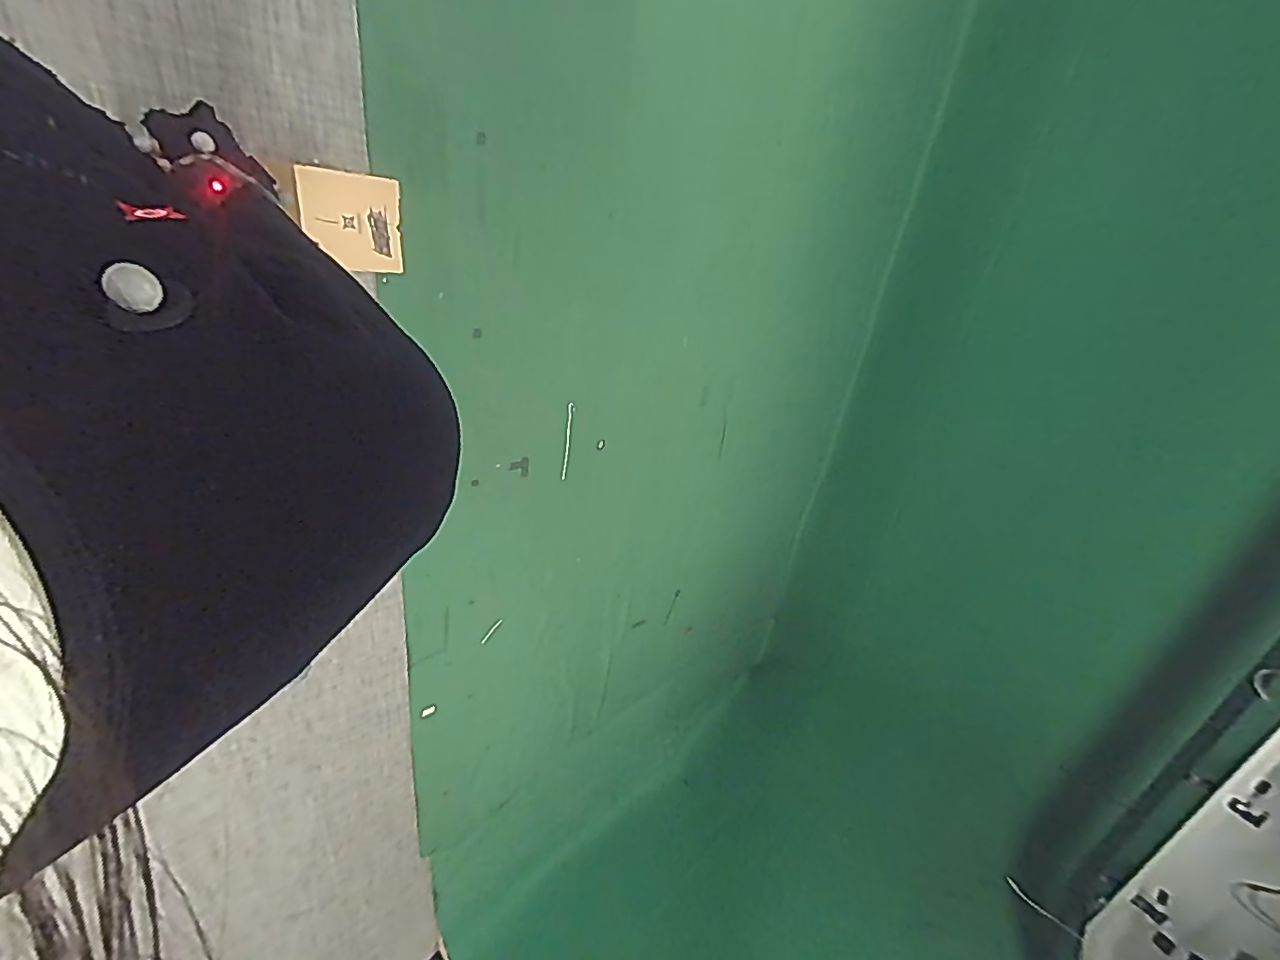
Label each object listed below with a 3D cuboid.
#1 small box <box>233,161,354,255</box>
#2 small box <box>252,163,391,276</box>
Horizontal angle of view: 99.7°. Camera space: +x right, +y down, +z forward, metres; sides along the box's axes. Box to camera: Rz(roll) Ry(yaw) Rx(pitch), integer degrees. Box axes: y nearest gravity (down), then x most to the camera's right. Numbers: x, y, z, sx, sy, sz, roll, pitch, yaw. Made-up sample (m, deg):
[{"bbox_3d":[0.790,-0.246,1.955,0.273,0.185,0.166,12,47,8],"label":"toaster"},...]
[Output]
[{"bbox_3d":[-0.704,-0.555,1.118,0.179,0.176,0.168,-19,126,-42],"label":"small box"},{"bbox_3d":[-0.594,-0.487,1.016,0.179,0.176,0.168,-17,124,-44],"label":"small box"}]
